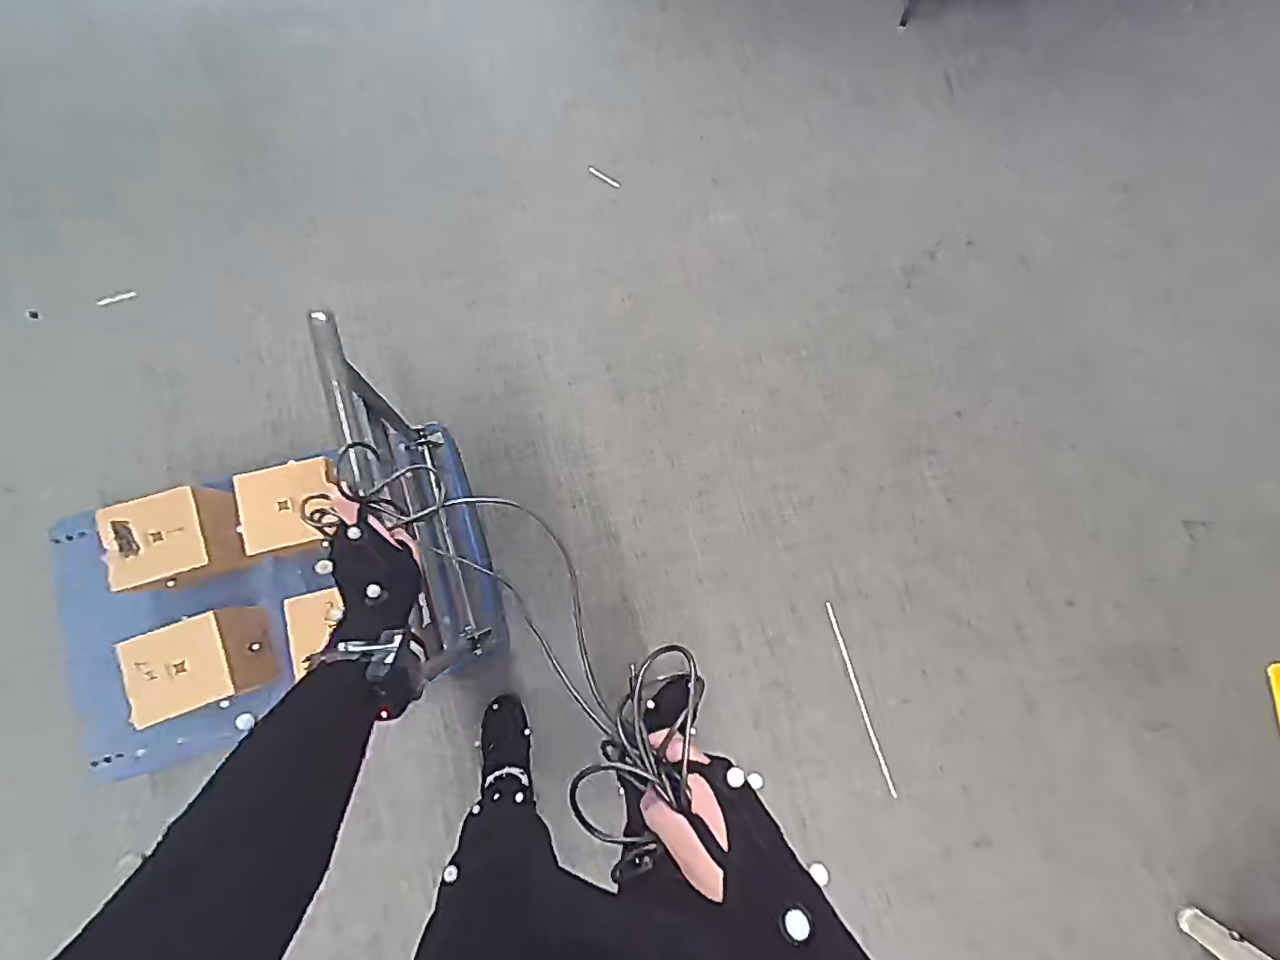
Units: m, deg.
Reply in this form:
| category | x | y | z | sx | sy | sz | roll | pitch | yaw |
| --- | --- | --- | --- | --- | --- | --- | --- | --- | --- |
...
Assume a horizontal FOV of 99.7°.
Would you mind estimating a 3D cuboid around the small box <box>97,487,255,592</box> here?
| category | x | y | z | sx | sy | sz | roll | pitch | yaw |
| --- | --- | --- | --- | --- | --- | --- | --- | --- | --- |
| small box | -0.950 | 0.127 | 1.120 | 0.179 | 0.176 | 0.168 | -17 | 83 | -9 |

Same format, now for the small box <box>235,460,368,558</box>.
| category | x | y | z | sx | sy | sz | roll | pitch | yaw |
| --- | --- | --- | --- | --- | --- | --- | --- | --- | --- |
| small box | -0.715 | 0.069 | 1.157 | 0.179 | 0.176 | 0.168 | -14 | 82 | -9 |

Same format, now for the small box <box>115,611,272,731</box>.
| category | x | y | z | sx | sy | sz | roll | pitch | yaw |
| --- | --- | --- | --- | --- | --- | --- | --- | --- | --- |
| small box | -0.878 | 0.371 | 1.086 | 0.179 | 0.176 | 0.168 | -19 | 82 | -9 |
